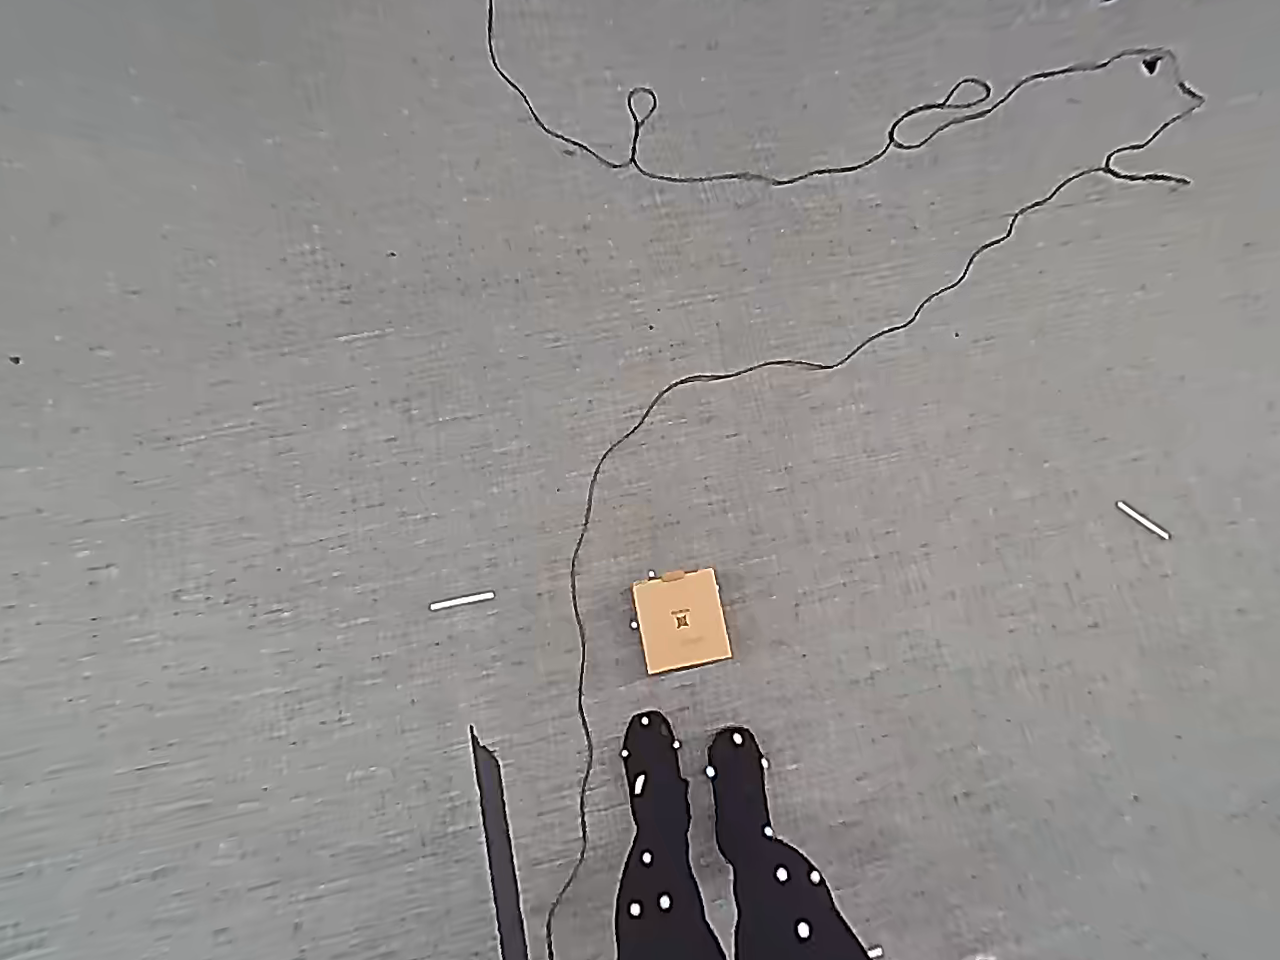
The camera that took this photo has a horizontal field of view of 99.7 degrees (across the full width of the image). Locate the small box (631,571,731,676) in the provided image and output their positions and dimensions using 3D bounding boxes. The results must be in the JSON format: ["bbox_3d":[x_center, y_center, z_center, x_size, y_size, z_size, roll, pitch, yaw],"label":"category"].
[{"bbox_3d":[0.076,0.291,1.121,0.168,0.176,0.179,-10,80,-4],"label":"small box"}]
